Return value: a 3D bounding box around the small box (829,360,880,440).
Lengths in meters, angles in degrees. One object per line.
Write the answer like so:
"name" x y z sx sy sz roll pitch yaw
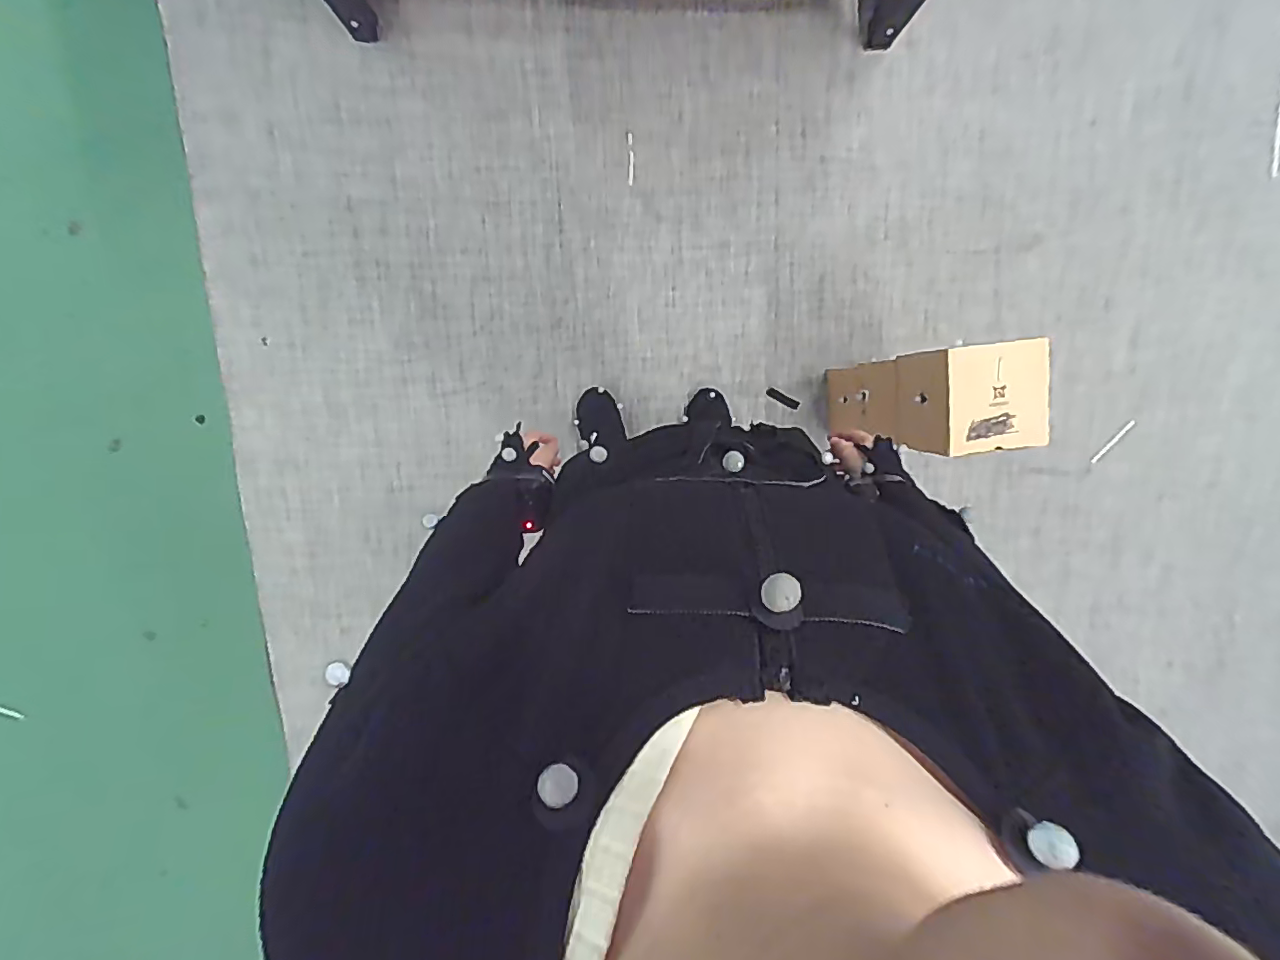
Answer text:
"small box" 0.553 -0.193 1.266 0.168 0.176 0.179 -7 99 -1

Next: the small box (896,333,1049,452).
"small box" 0.567 -0.152 0.941 0.168 0.176 0.179 -7 98 -1

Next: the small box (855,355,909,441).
"small box" 0.563 -0.176 1.103 0.179 0.176 0.168 -8 99 0
